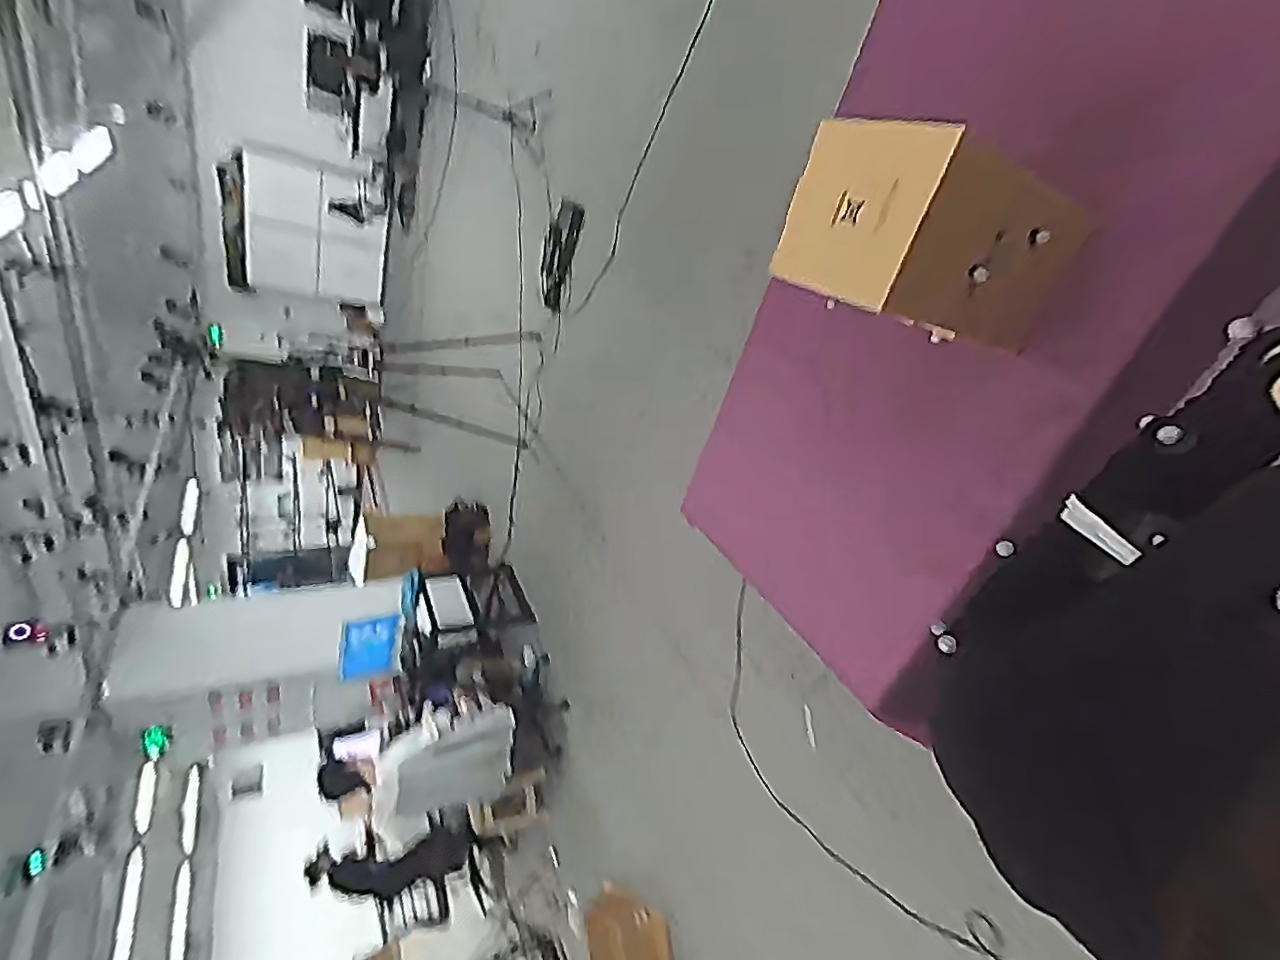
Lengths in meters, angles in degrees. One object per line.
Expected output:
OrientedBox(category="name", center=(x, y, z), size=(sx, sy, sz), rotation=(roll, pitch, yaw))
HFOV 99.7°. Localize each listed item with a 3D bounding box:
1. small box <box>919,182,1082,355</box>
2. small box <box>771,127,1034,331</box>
OrientedBox(category="small box", center=(0.430, -0.281, 0.710), size=(0.168, 0.176, 0.179), rotation=(48, 129, 45))
OrientedBox(category="small box", center=(0.293, -0.281, 0.621), size=(0.179, 0.176, 0.168), rotation=(46, 128, 45))
